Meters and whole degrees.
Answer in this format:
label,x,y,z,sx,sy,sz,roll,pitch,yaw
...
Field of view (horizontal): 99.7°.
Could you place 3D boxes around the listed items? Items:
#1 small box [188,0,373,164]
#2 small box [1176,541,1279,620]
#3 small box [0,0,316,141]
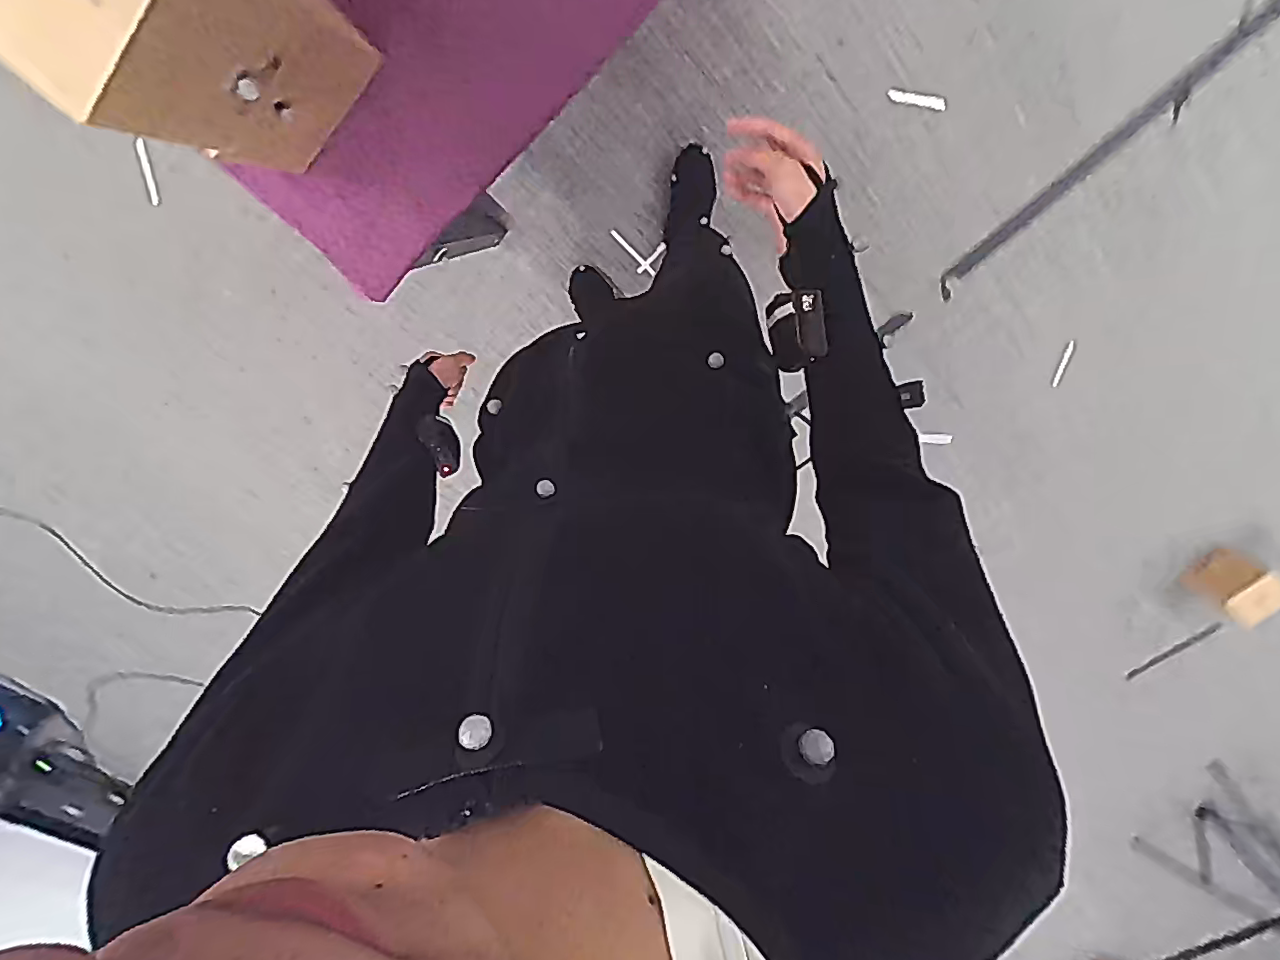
label,x,y,z,sx,sy,sz,roll,pitch,yaw
small box,-0.420,-0.465,0.565,0.179,0.176,0.168,-40,110,16
small box,2.035,0.340,1.864,0.179,0.176,0.168,35,110,-17
small box,-0.404,-0.399,0.415,0.168,0.176,0.179,-41,111,16
